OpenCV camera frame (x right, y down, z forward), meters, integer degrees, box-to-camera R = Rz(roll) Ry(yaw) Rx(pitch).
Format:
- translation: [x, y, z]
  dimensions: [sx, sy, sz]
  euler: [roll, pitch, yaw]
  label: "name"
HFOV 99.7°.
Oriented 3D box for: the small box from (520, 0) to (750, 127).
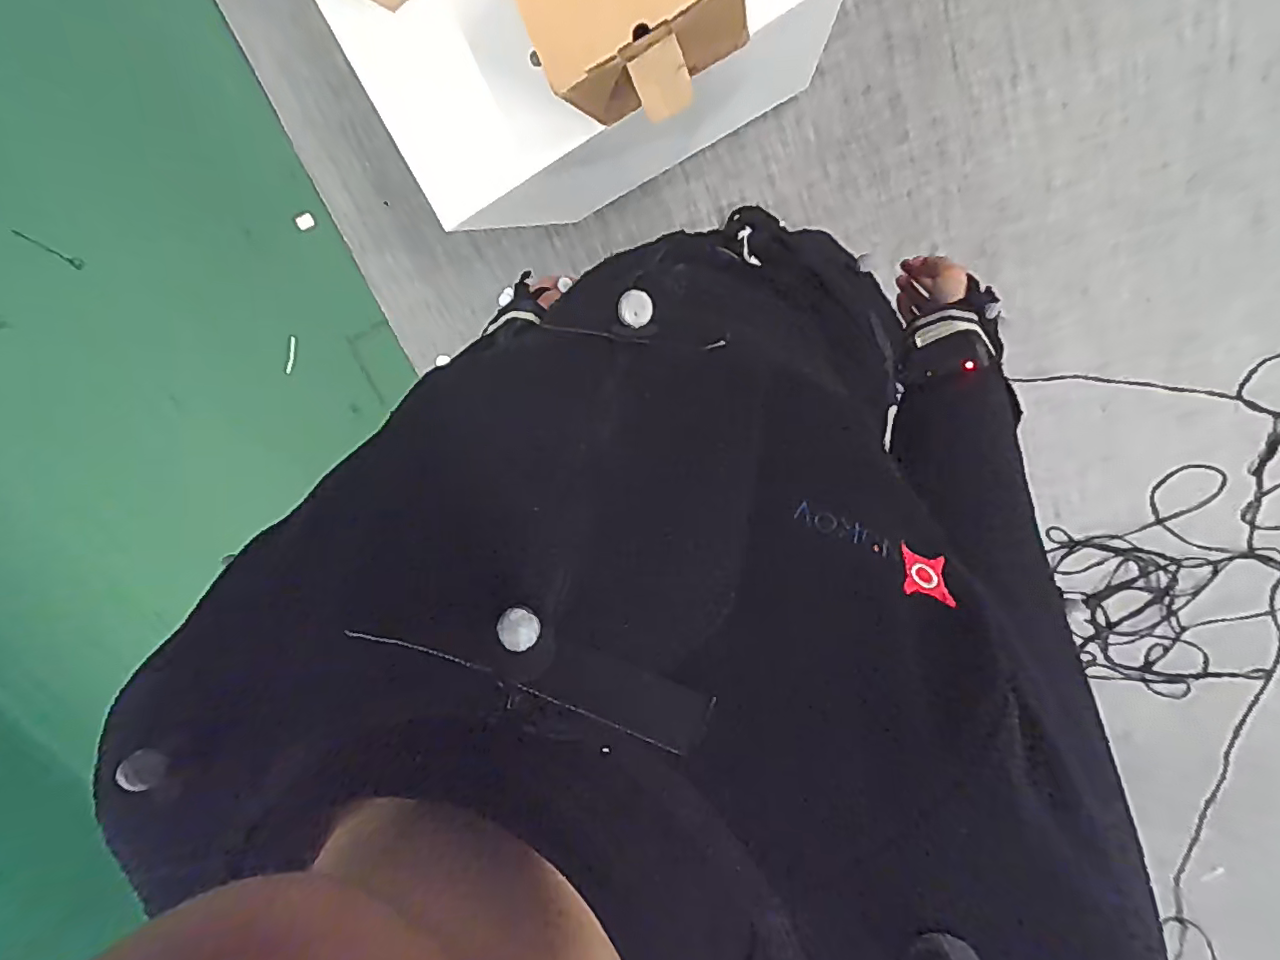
- translation: [-0.012, -0.444, 0.466]
  dimensions: [0.168, 0.176, 0.179]
  euler: [-19, 110, 20]
  label: "small box"
